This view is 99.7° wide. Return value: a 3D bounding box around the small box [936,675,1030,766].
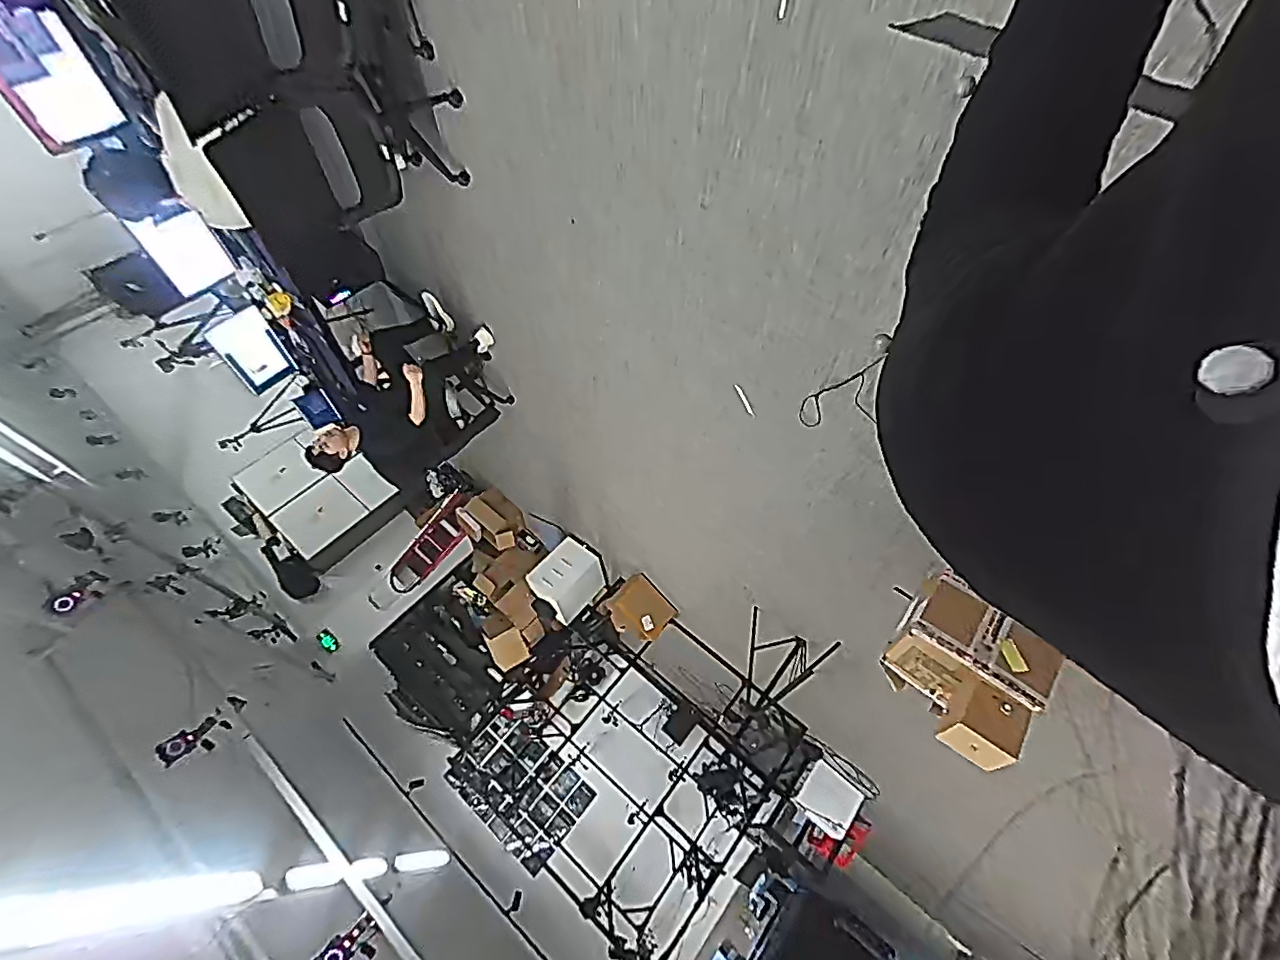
[{"bbox_3d":[1.053,0.735,1.657,0.168,0.176,0.179,32,147,22],"label":"small box"}]
